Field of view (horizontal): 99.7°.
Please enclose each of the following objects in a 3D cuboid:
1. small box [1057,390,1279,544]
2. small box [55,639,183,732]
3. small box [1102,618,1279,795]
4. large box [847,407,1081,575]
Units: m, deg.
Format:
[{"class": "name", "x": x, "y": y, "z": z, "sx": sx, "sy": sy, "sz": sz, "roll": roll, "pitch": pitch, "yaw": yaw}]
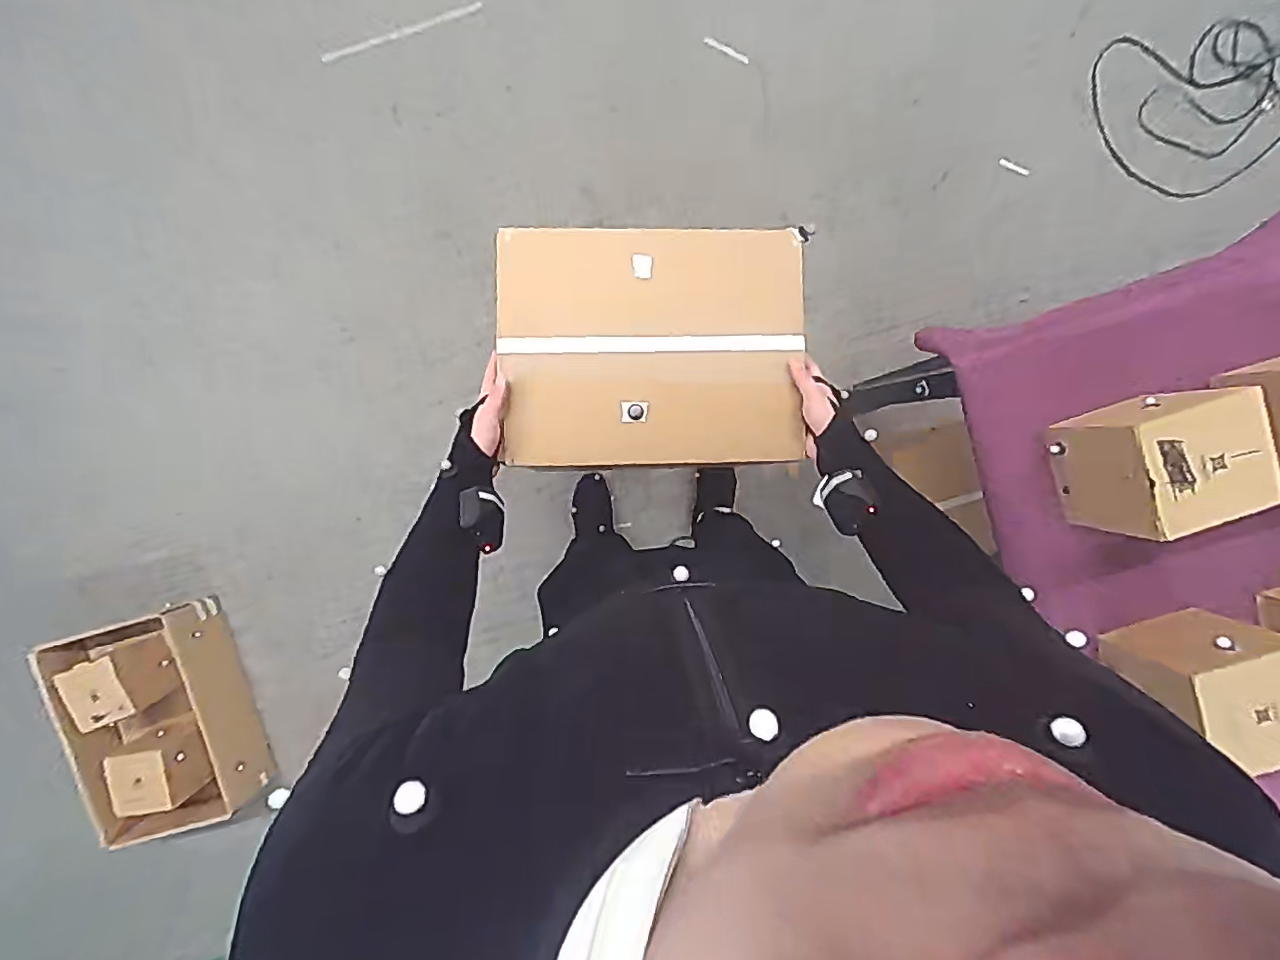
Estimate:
[{"class": "small box", "x": 0.754, "y": -0.020, "z": 0.785, "sx": 0.179, "sy": 0.176, "sz": 0.168, "roll": -18, "pitch": 94, "yaw": 0}, {"class": "small box", "x": -1.468, "y": 0.572, "z": 1.536, "sx": 0.168, "sy": 0.176, "sz": 0.179, "roll": -20, "pitch": 95, "yaw": 1}, {"class": "small box", "x": 0.860, "y": 0.325, "z": 0.812, "sx": 0.179, "sy": 0.176, "sz": 0.168, "roll": -15, "pitch": 93, "yaw": 1}, {"class": "large box", "x": 0.841, "y": 0.020, "z": 1.453, "sx": 0.408, "sy": 0.320, "sz": 0.320, "roll": -17, "pitch": 95, "yaw": 1}]
